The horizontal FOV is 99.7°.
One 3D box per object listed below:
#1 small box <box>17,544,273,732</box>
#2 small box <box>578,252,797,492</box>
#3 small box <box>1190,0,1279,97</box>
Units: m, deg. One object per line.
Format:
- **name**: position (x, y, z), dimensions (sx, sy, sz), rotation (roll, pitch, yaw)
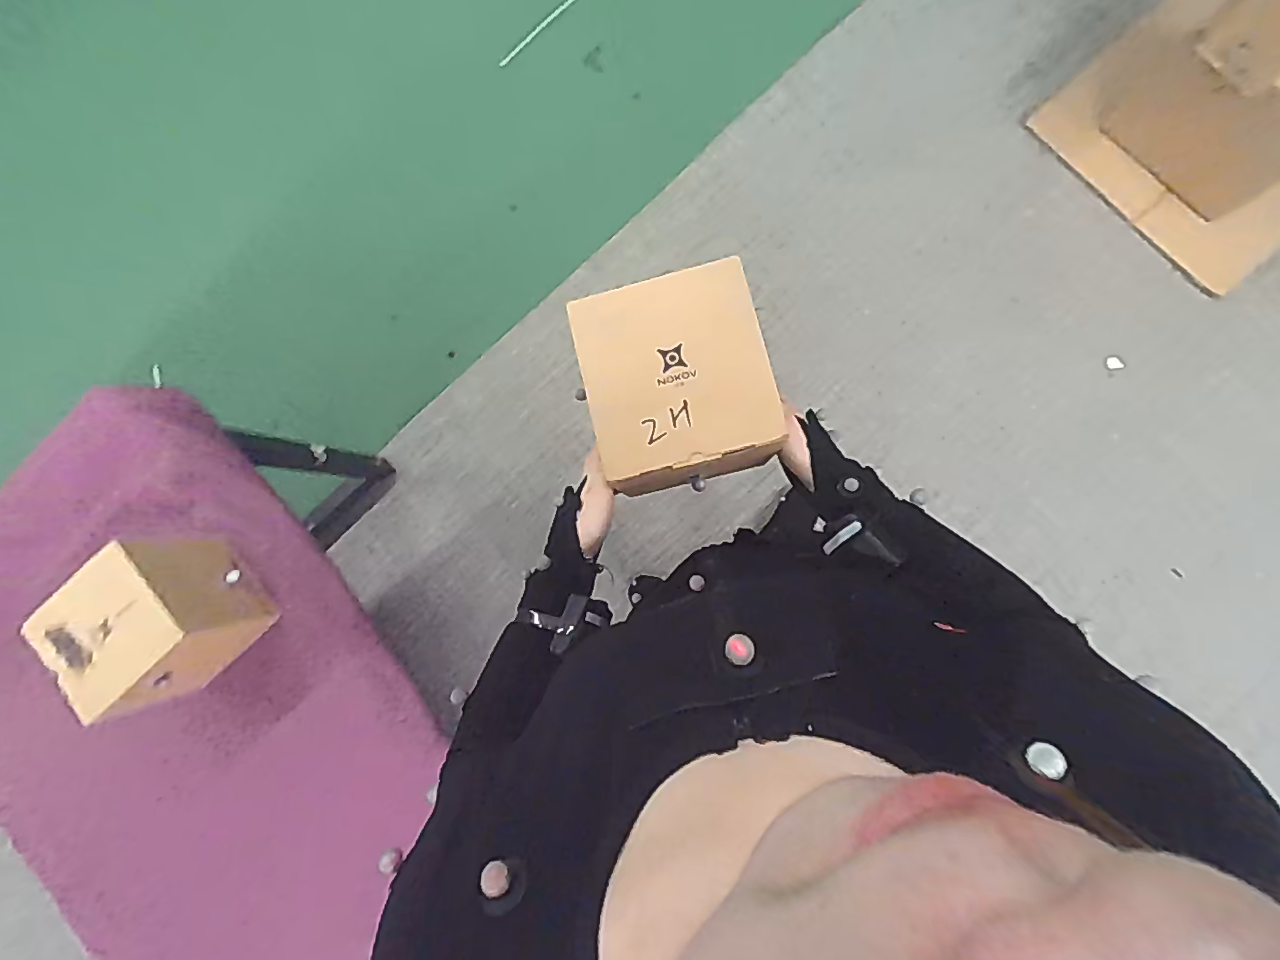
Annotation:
- **small box**: position (-0.678, 0.207, 0.762), dimensions (0.179, 0.176, 0.168), rotation (-43, 83, 1)
- **small box**: position (0.046, -0.095, 0.556), dimensions (0.168, 0.176, 0.179), rotation (-13, 82, 5)
- **small box**: position (1.293, -0.935, 1.083), dimensions (0.179, 0.176, 0.168), rotation (-41, 83, 3)
